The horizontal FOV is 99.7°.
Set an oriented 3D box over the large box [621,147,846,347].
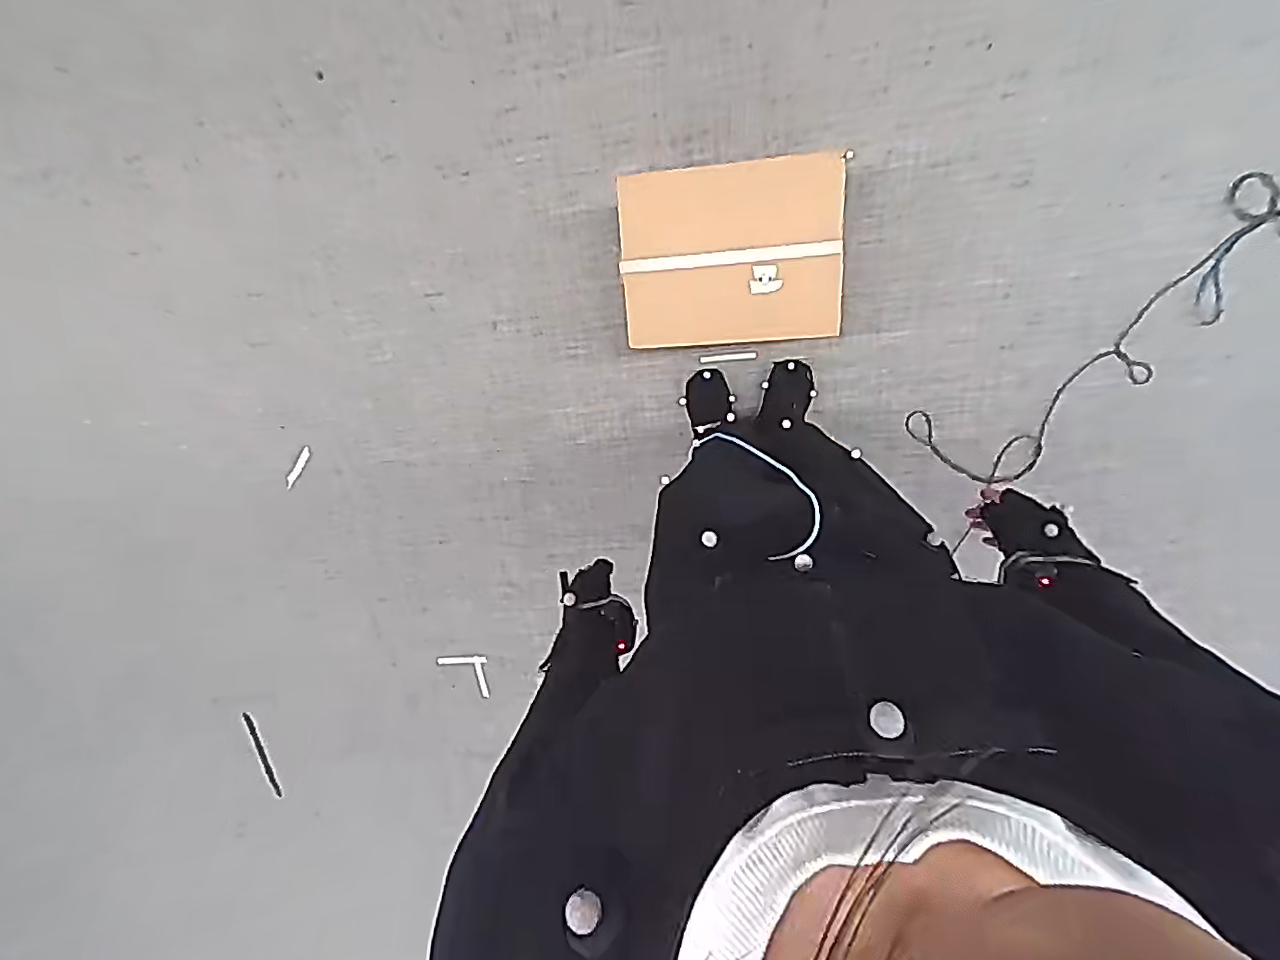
[{"bbox_3d":[0.193,-0.465,1.148,0.408,0.320,0.320,-2,108,9],"label":"large box"}]
